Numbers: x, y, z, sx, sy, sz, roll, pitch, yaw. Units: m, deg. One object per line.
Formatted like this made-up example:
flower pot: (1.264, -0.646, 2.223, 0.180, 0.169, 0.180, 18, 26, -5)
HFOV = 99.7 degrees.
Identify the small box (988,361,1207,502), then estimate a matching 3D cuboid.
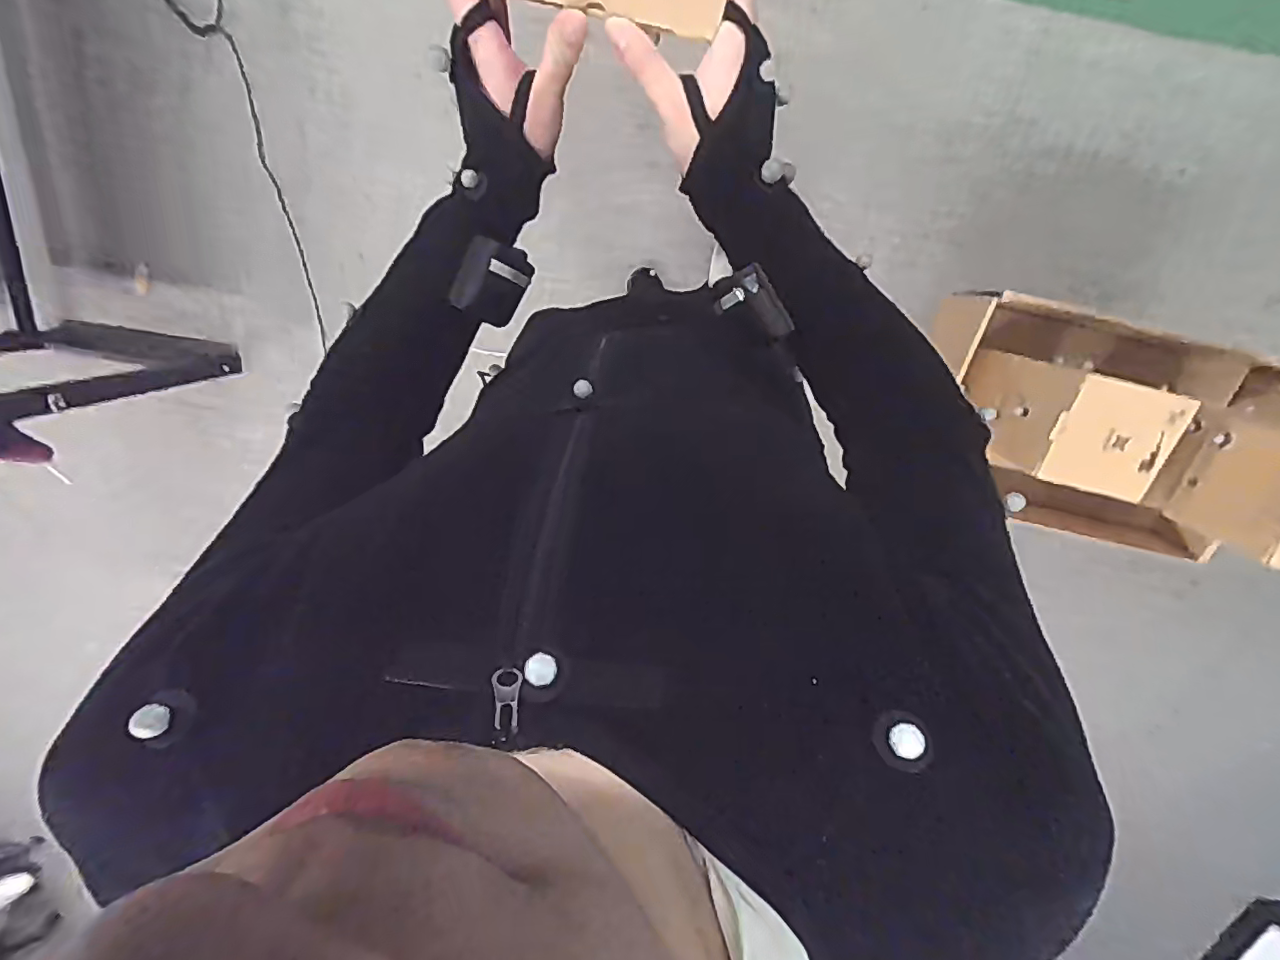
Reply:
small box: (0.711, -0.088, 0.870, 0.179, 0.176, 0.168, 14, 111, -1)

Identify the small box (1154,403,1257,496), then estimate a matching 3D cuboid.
small box: (0.969, -0.085, 1.031, 0.179, 0.176, 0.168, 14, 111, 3)

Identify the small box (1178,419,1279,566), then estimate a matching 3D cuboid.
small box: (0.906, 0.024, 0.726, 0.179, 0.176, 0.168, 12, 111, 3)

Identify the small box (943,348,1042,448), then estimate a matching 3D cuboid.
small box: (0.723, -0.144, 1.023, 0.179, 0.176, 0.168, 14, 110, -2)
